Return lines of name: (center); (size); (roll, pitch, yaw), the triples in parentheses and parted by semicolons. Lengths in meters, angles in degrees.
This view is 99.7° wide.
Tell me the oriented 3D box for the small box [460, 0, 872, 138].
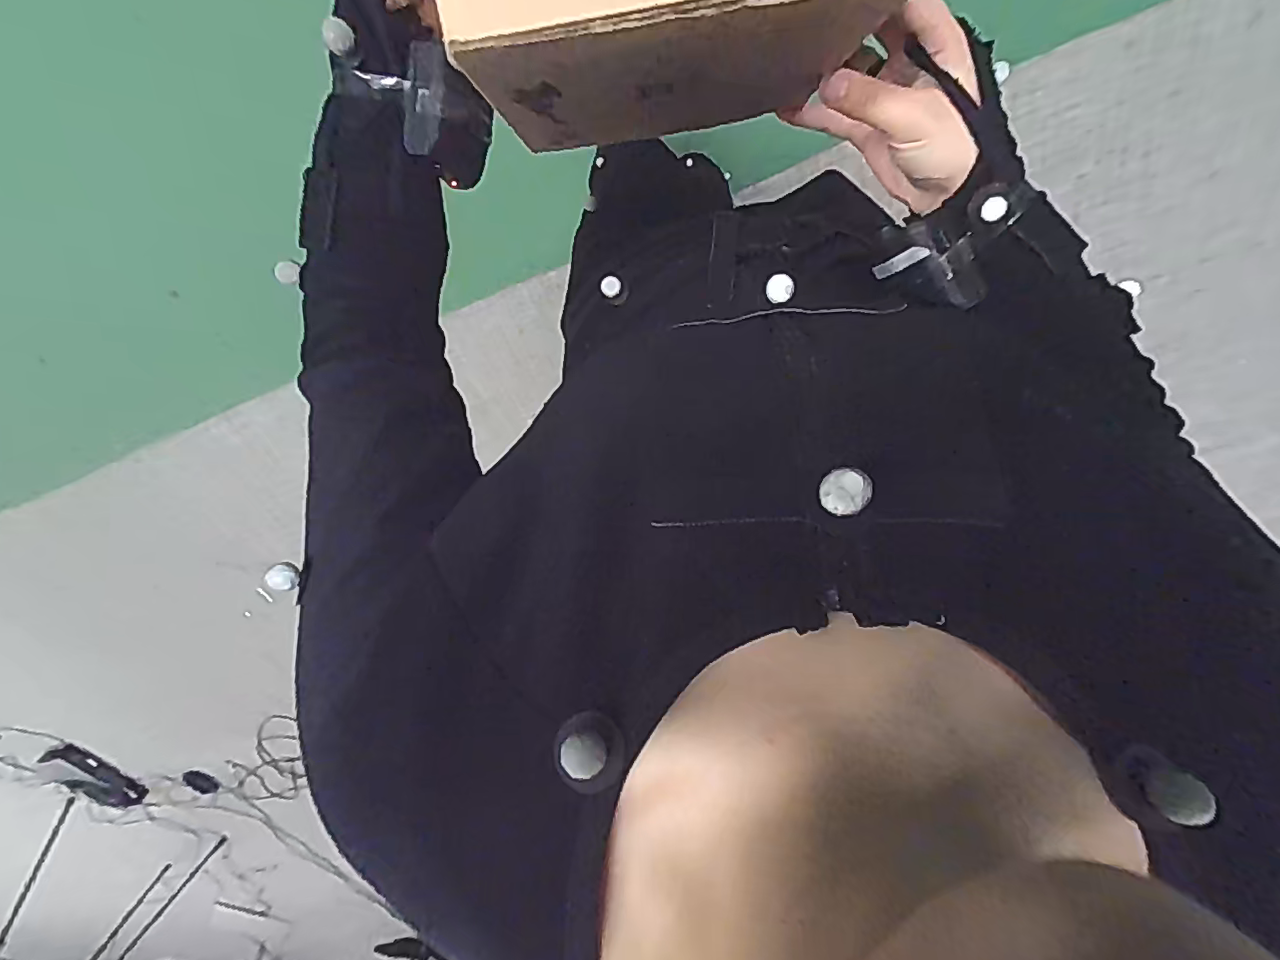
small box: (0.004, -0.281, 0.239); (0.179, 0.168, 0.176); (-9, 110, 3)
